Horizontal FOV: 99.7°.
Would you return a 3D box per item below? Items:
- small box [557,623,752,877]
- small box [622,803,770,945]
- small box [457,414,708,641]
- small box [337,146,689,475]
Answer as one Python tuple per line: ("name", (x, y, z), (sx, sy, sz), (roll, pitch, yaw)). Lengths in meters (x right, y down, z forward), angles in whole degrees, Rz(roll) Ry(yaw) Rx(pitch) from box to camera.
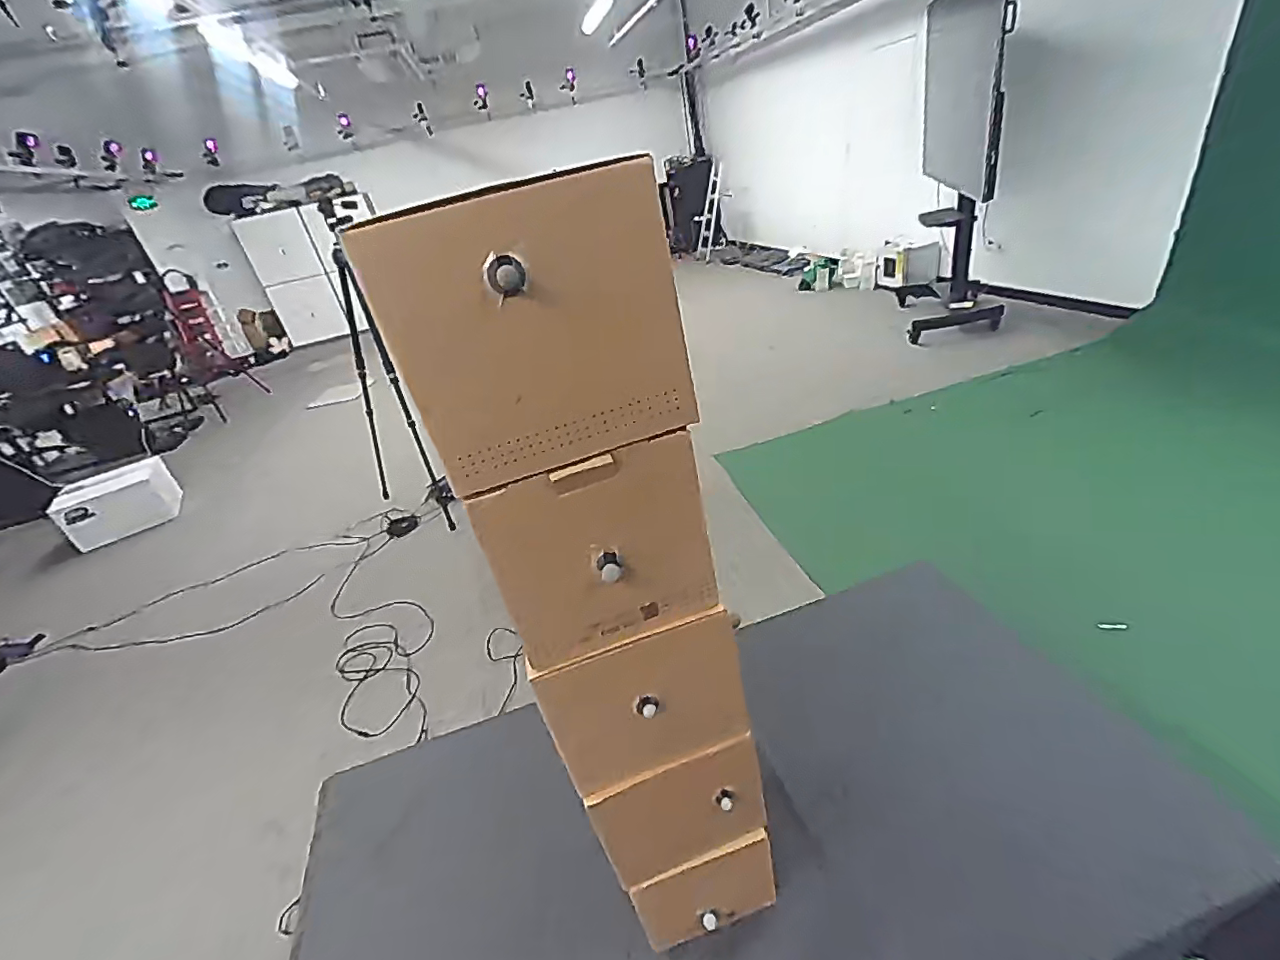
("small box", (0.019, 0.305, 0.623), (0.179, 0.176, 0.168), (-18, 29, -9))
("small box", (0.054, 0.443, 0.701), (0.168, 0.176, 0.179), (-17, 30, -7))
("small box", (-0.051, 0.018, 0.481), (0.168, 0.176, 0.179), (-18, 29, -8))
("small box", (-0.080, -0.123, 0.399), (0.179, 0.176, 0.168), (-18, 29, -7))
